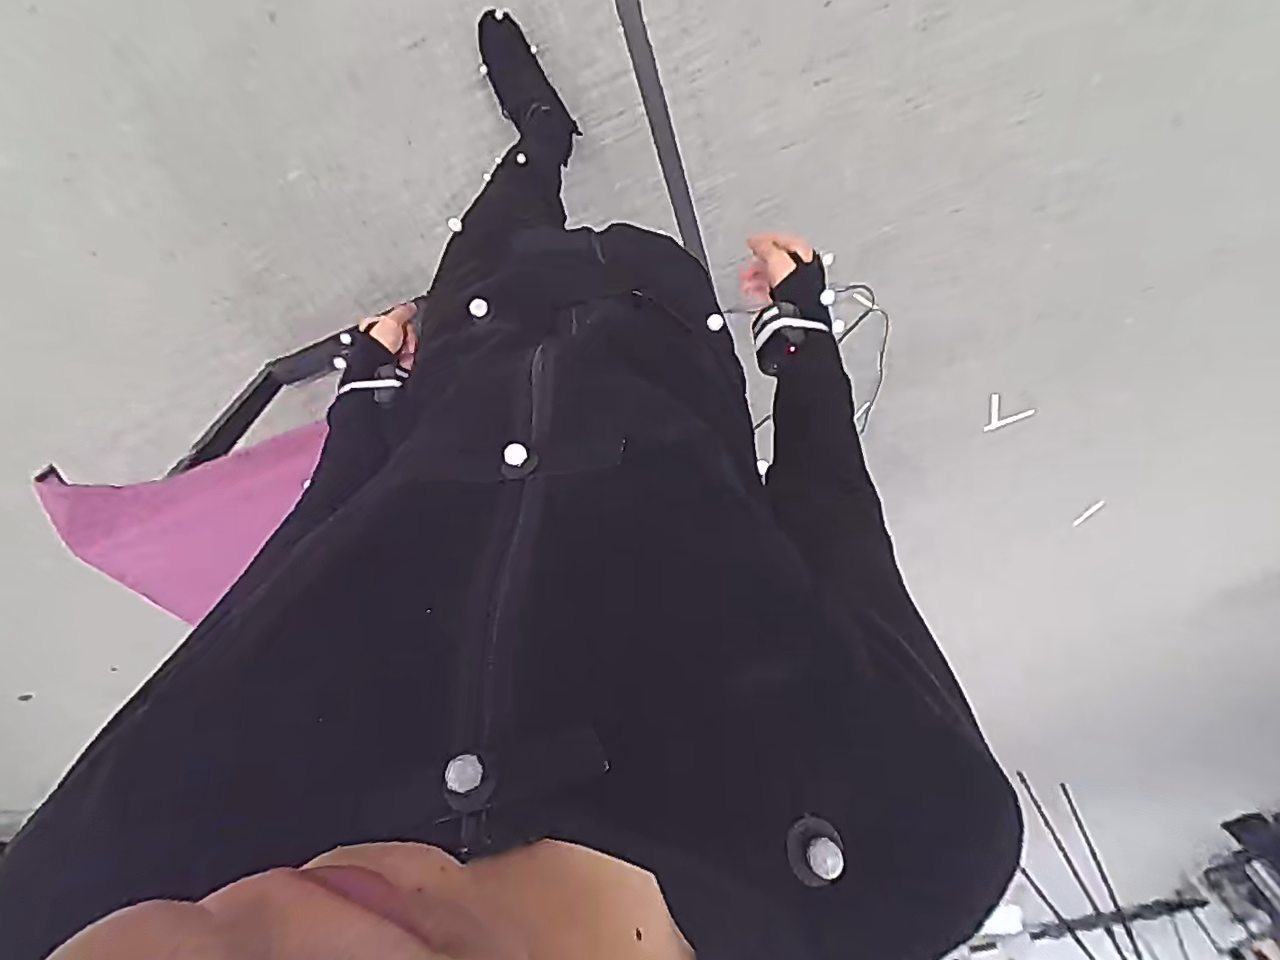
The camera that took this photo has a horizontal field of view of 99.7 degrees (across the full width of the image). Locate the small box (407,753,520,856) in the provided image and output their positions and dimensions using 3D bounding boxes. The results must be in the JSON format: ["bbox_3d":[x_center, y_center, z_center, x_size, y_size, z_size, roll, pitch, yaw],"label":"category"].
[{"bbox_3d":[-0.386,0.741,1.217,0.179,0.176,0.168,-22,129,12],"label":"small box"}]
